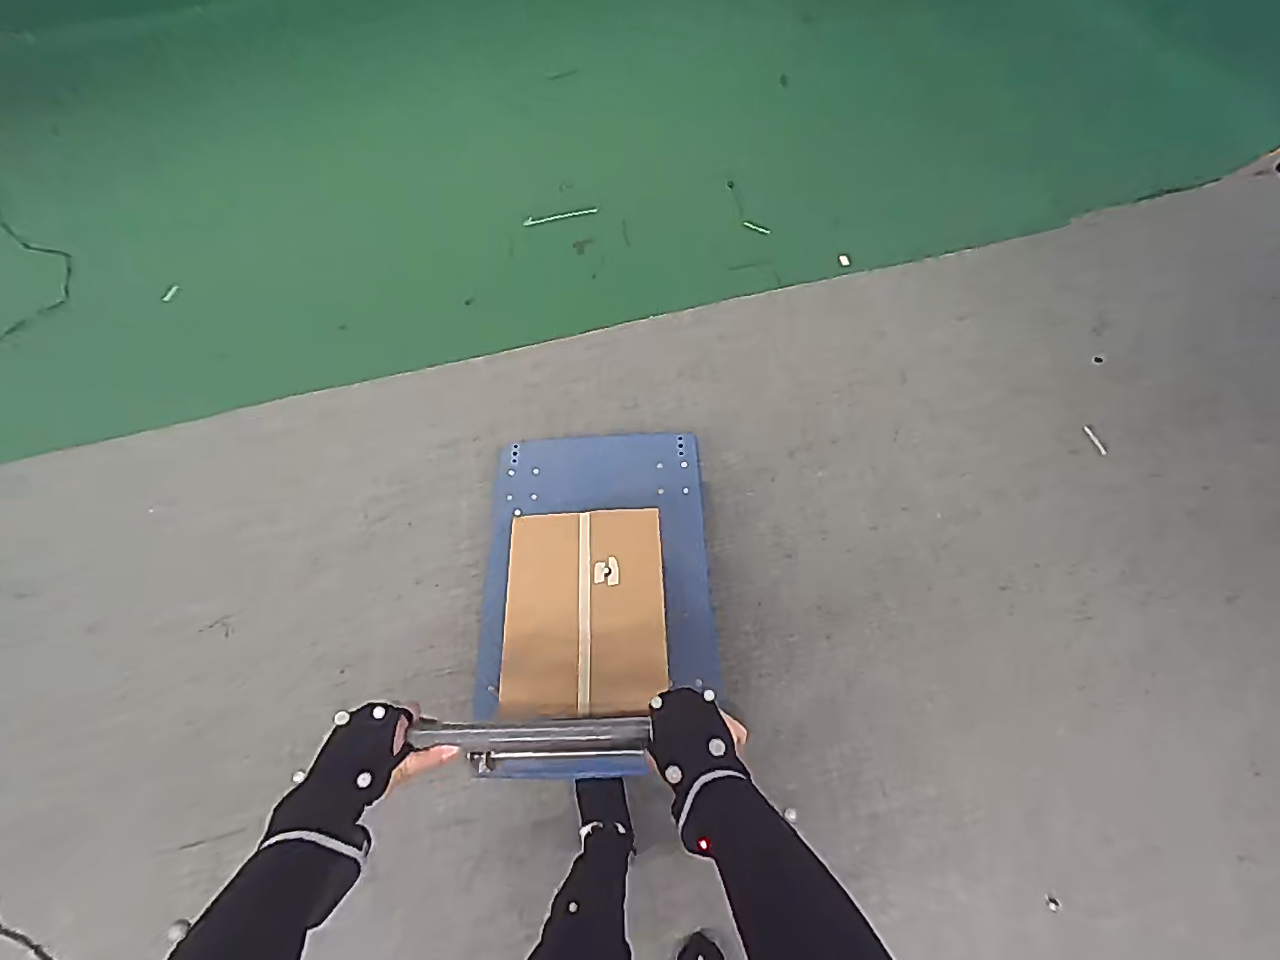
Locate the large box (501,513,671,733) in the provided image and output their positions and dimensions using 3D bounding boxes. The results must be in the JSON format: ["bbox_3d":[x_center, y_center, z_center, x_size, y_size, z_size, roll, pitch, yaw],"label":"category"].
[{"bbox_3d":[-0.099,0.323,1.192,0.320,0.320,0.408,-2,62,1],"label":"large box"}]
